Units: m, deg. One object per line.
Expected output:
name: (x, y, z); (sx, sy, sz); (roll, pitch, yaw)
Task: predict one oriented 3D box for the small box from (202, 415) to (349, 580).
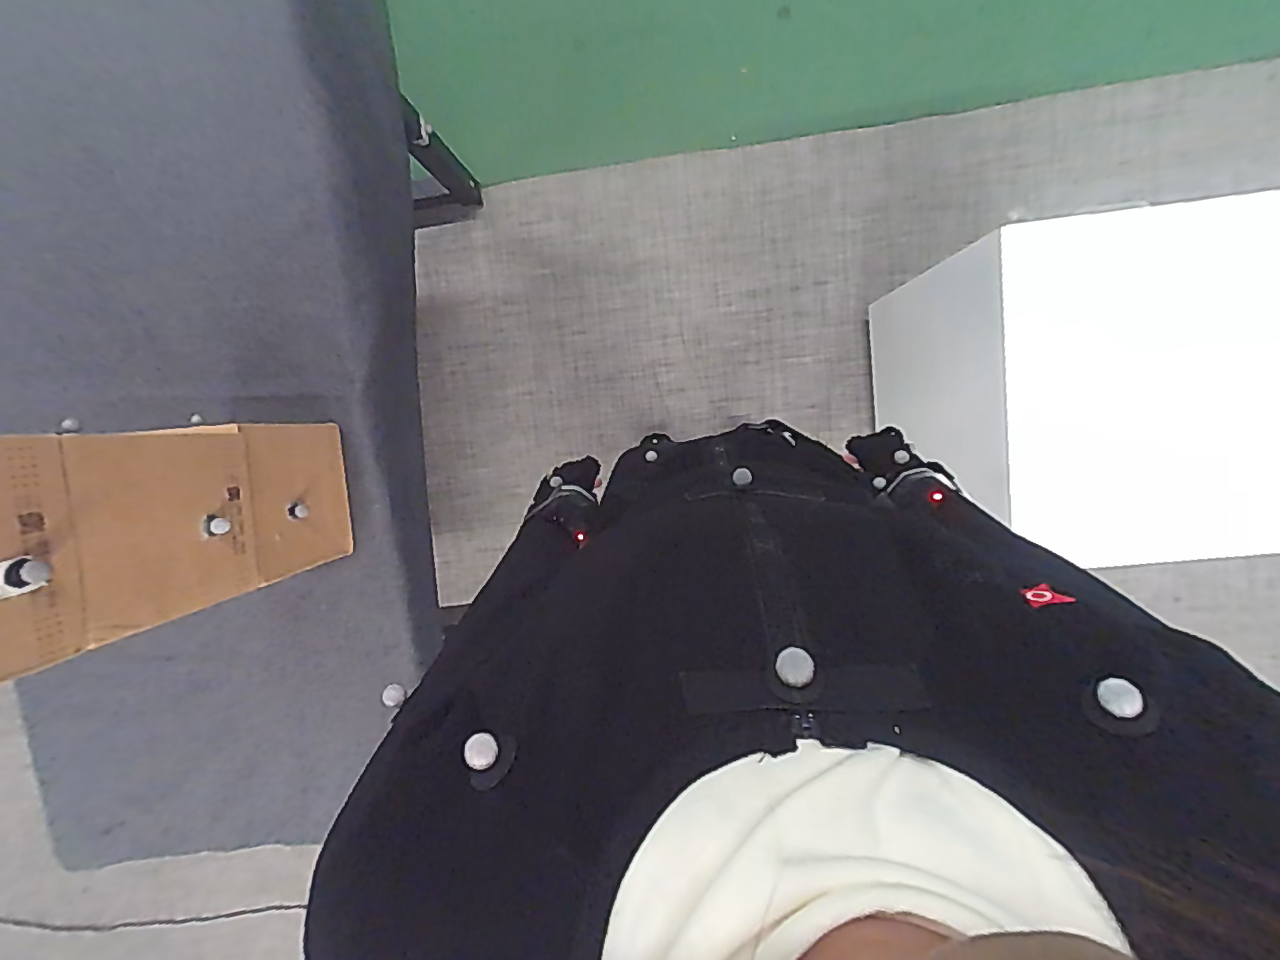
small box: (-0.485, 0.013, 0.660); (0.168, 0.176, 0.179); (-3, 97, 6)
